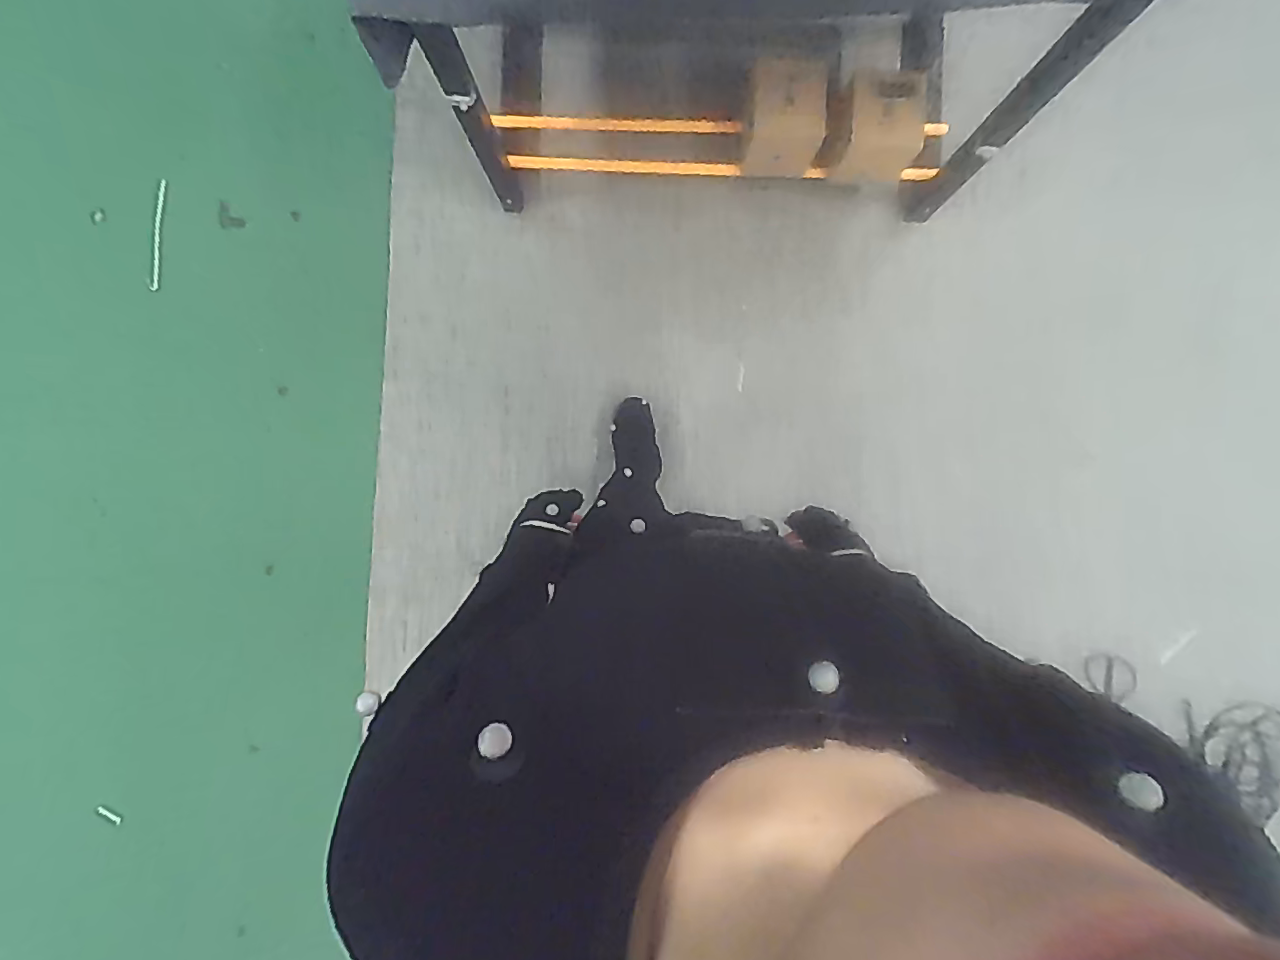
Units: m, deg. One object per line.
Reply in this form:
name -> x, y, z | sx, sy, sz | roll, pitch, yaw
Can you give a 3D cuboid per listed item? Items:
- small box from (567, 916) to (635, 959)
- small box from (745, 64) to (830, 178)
small box -> -0.099, 1.246, 1.360 | 0.168, 0.176, 0.179 | 1, 88, 1
small box -> 0.353, -0.863, 1.316 | 0.168, 0.176, 0.179 | 1, 89, 1
